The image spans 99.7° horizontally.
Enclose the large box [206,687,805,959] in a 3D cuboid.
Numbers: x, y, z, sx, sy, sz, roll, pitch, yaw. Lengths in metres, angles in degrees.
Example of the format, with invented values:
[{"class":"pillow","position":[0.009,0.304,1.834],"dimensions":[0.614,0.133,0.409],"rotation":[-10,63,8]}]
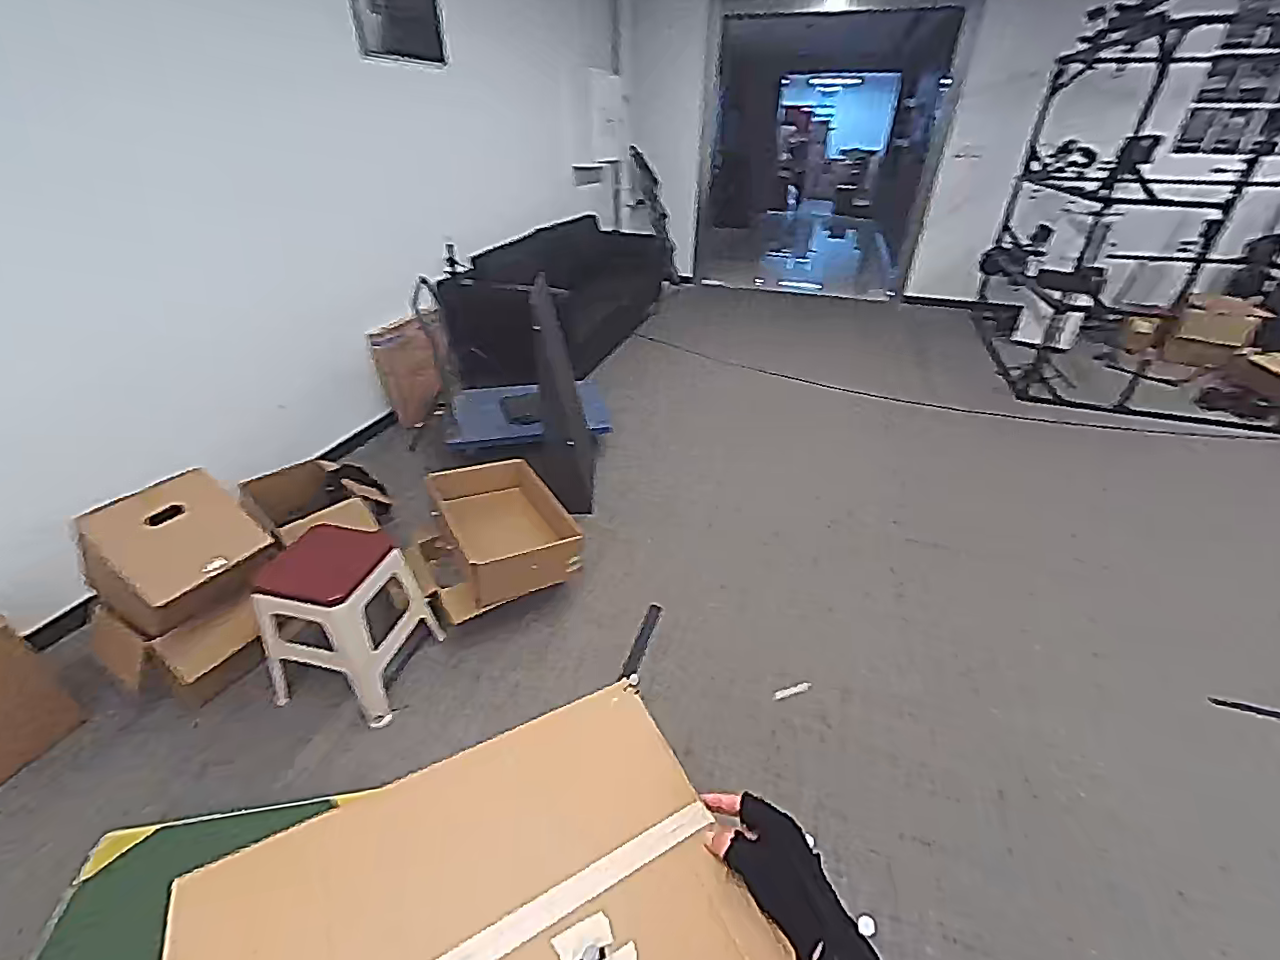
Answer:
[{"class":"large box","position":[-0.112,0.478,0.499],"dimensions":[0.408,0.320,0.320],"rotation":[-14,40,-24]}]
